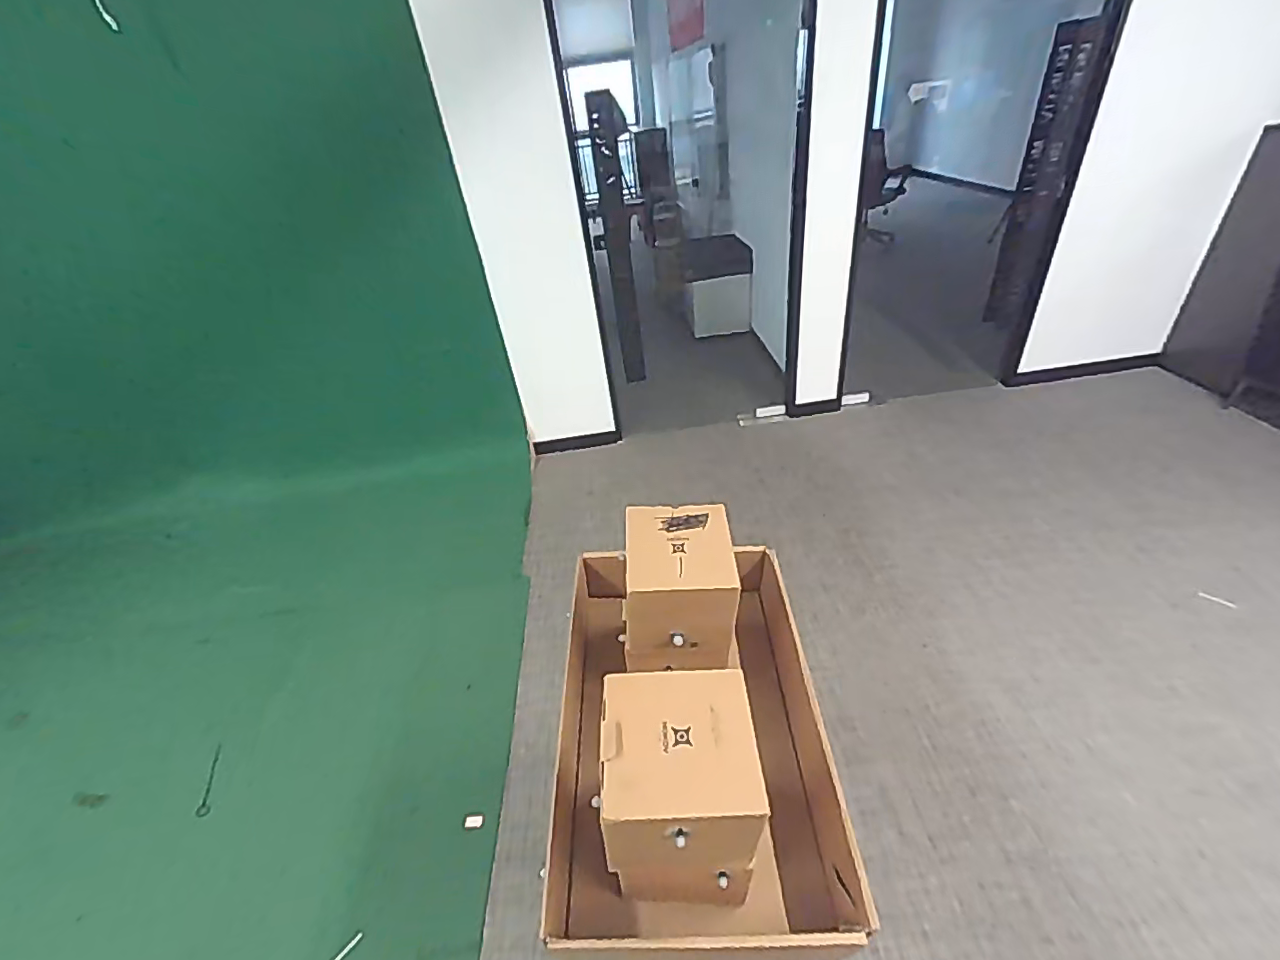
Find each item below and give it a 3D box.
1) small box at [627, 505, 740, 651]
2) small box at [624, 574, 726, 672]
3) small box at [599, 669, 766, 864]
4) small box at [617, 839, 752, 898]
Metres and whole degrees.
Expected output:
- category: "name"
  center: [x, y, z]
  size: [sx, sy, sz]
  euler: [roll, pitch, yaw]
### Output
- category: "small box"
  center: [0.063, 0.160, 0.888]
  size: [0.168, 0.176, 0.179]
  euler: [-2, 42, 0]
- category: "small box"
  center: [0.064, 0.281, 0.999]
  size: [0.179, 0.176, 0.168]
  euler: [-1, 42, 1]
- category: "small box"
  center: [0.044, 0.354, 0.668]
  size: [0.179, 0.176, 0.168]
  euler: [-1, 41, -1]
- category: "small box"
  center: [0.058, 0.475, 0.774]
  size: [0.179, 0.176, 0.168]
  euler: [1, 40, 2]
